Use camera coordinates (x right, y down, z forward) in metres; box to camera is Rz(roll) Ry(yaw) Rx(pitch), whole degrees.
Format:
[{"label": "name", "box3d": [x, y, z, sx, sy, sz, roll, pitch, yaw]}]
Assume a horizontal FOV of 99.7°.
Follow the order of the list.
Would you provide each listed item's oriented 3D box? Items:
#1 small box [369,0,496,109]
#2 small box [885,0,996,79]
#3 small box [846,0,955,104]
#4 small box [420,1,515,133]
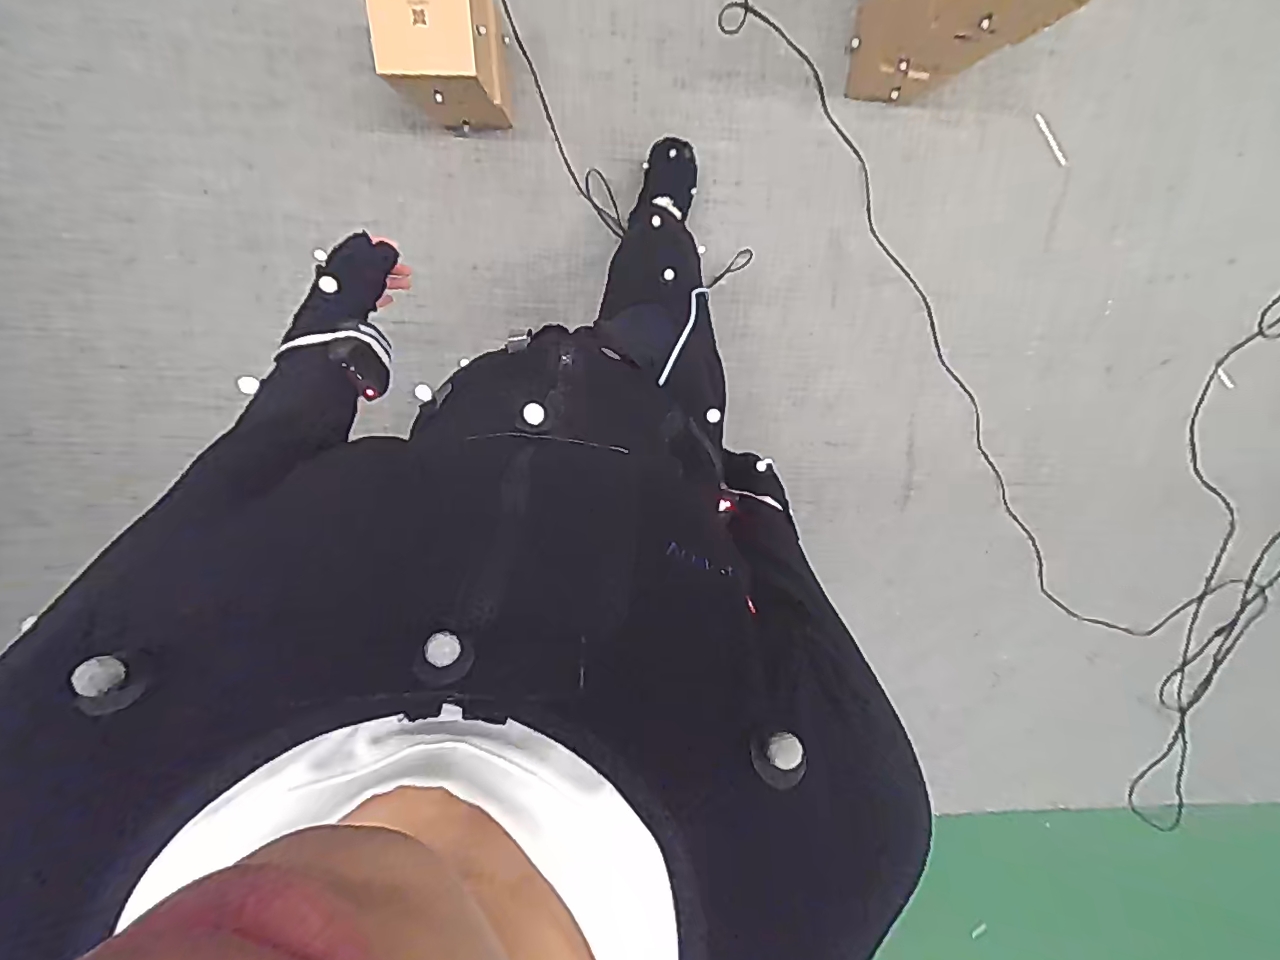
[{"label": "small box", "box3d": [-0.356, -0.774, 0.950, 0.168, 0.176, 0.179, -1, 110, -3]}, {"label": "small box", "box3d": [0.572, -0.862, 0.980, 0.168, 0.176, 0.179, 3, 109, -5]}, {"label": "small box", "box3d": [0.556, -0.915, 1.137, 0.168, 0.176, 0.179, -1, 112, -7]}, {"label": "small box", "box3d": [-0.355, -0.834, 1.103, 0.168, 0.176, 0.179, -1, 110, -3]}]
